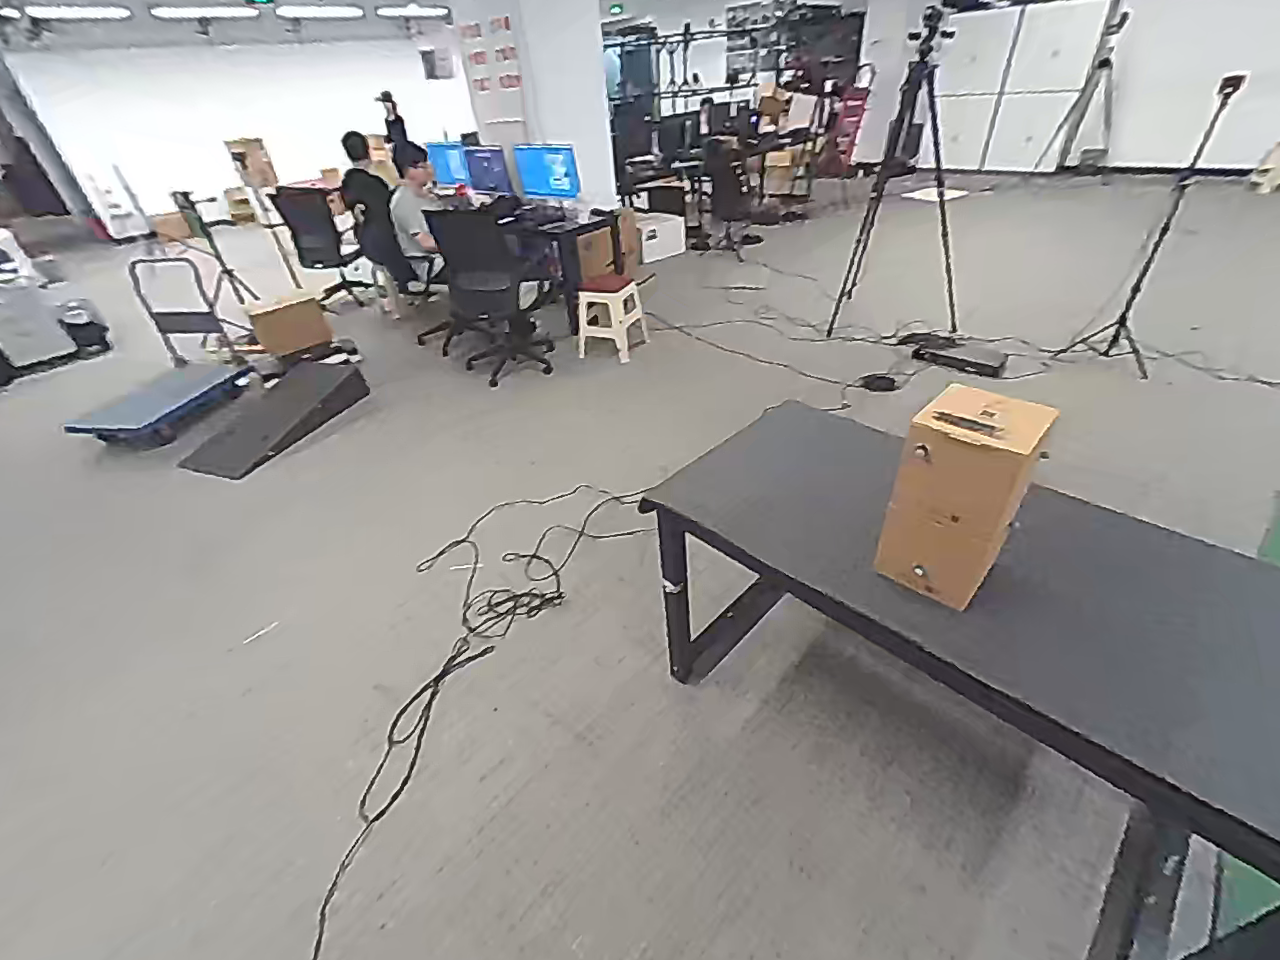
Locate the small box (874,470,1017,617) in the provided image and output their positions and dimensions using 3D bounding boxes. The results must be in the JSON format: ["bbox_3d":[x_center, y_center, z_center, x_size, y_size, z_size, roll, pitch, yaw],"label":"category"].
[{"bbox_3d":[0.557,0.114,1.004,0.168,0.176,0.179,27,46,37],"label":"small box"}]
